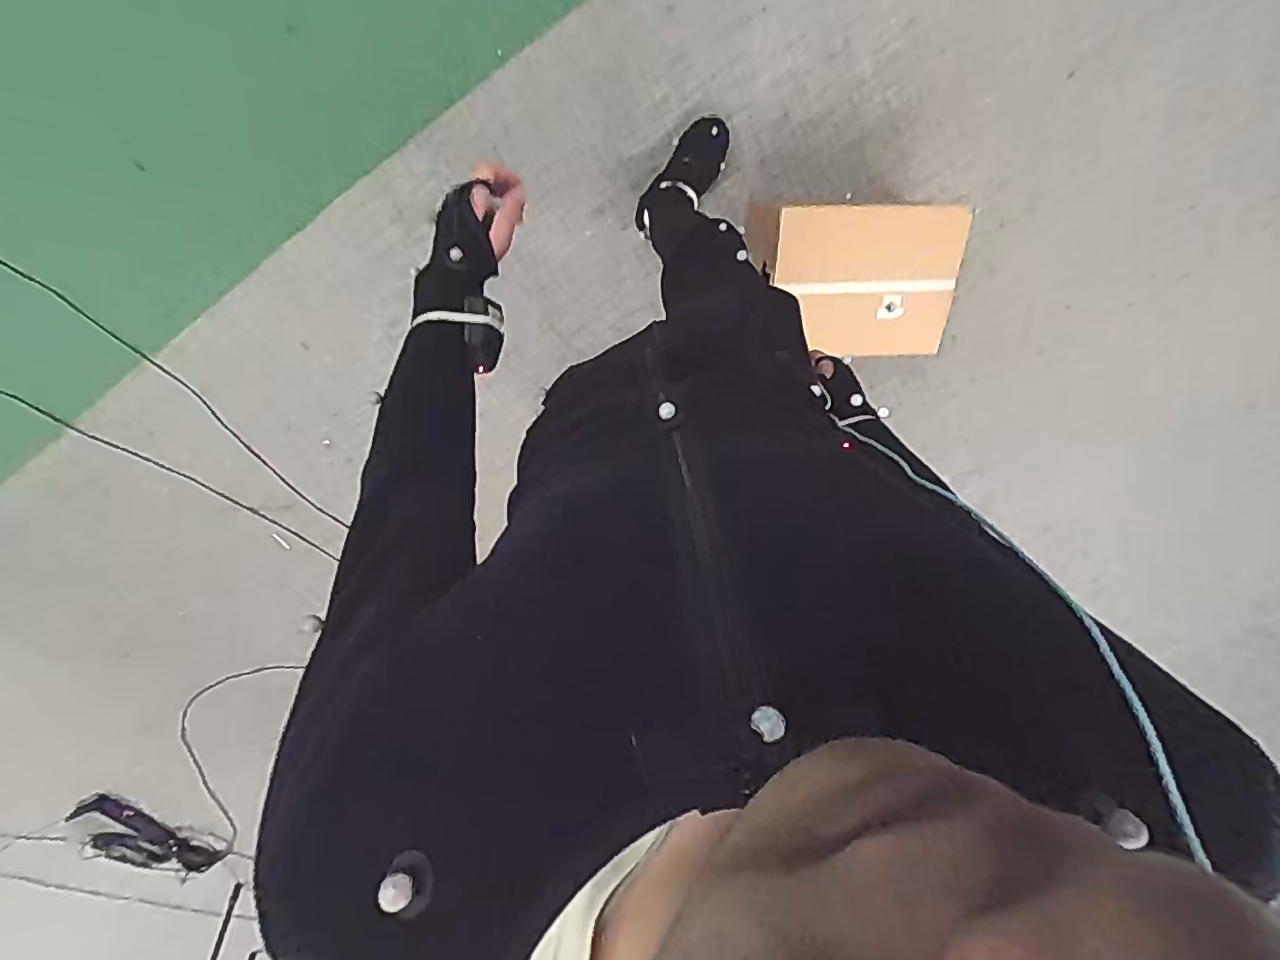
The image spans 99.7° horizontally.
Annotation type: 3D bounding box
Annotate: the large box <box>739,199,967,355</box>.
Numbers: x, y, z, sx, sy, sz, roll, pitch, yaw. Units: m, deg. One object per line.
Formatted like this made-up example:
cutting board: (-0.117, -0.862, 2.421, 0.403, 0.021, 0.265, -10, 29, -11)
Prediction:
large box: (0.469, -0.499, 1.301, 0.408, 0.320, 0.320, -2, 119, -2)
